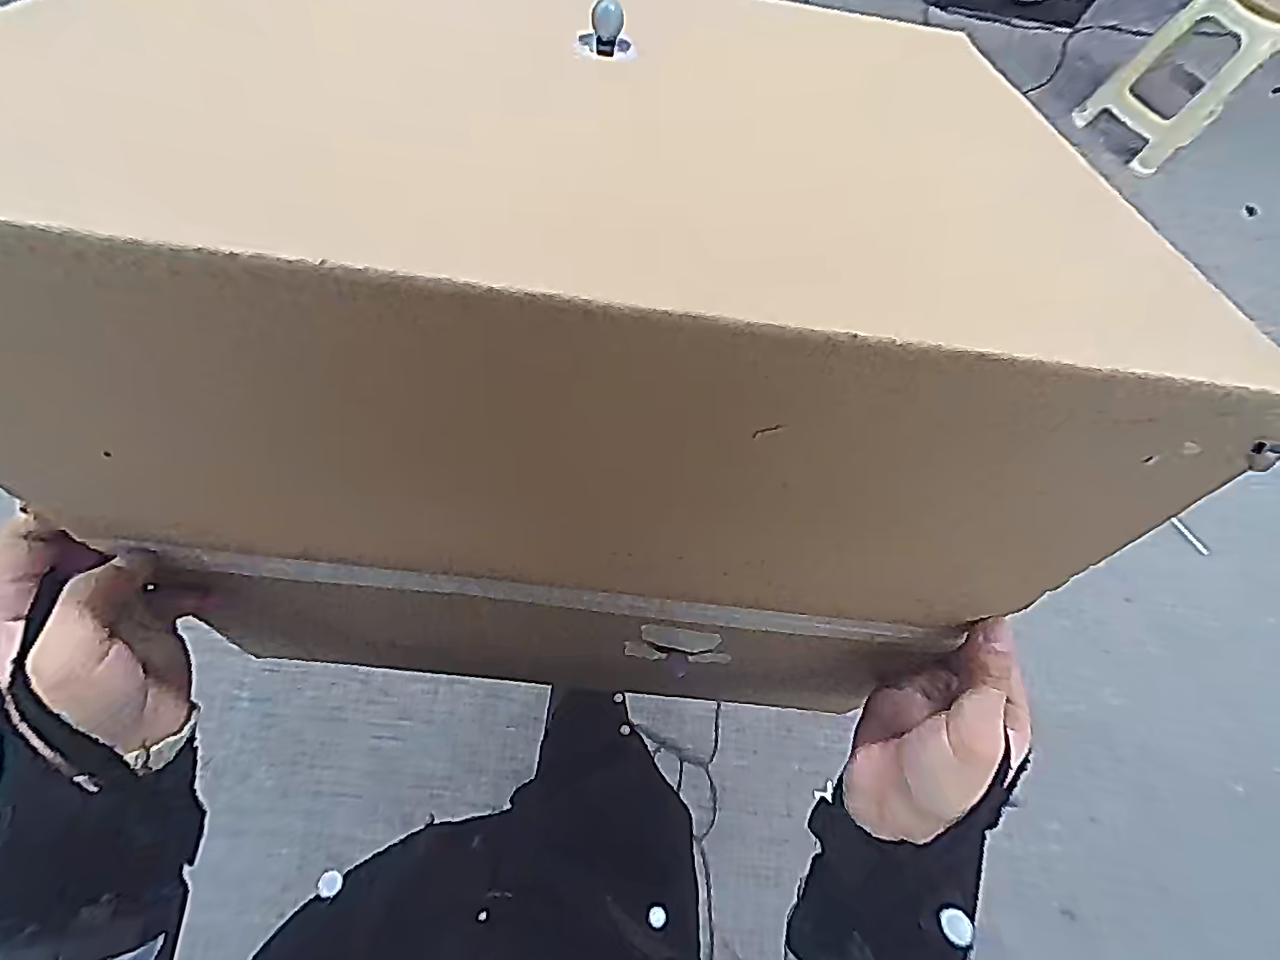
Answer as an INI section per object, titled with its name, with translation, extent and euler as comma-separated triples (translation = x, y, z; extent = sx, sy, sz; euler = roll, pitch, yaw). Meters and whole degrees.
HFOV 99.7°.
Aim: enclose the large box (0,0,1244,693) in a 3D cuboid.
[large box]
translation = -0.034, -0.075, 0.351
extent = 0.408, 0.320, 0.320
euler = 6, 54, -3
